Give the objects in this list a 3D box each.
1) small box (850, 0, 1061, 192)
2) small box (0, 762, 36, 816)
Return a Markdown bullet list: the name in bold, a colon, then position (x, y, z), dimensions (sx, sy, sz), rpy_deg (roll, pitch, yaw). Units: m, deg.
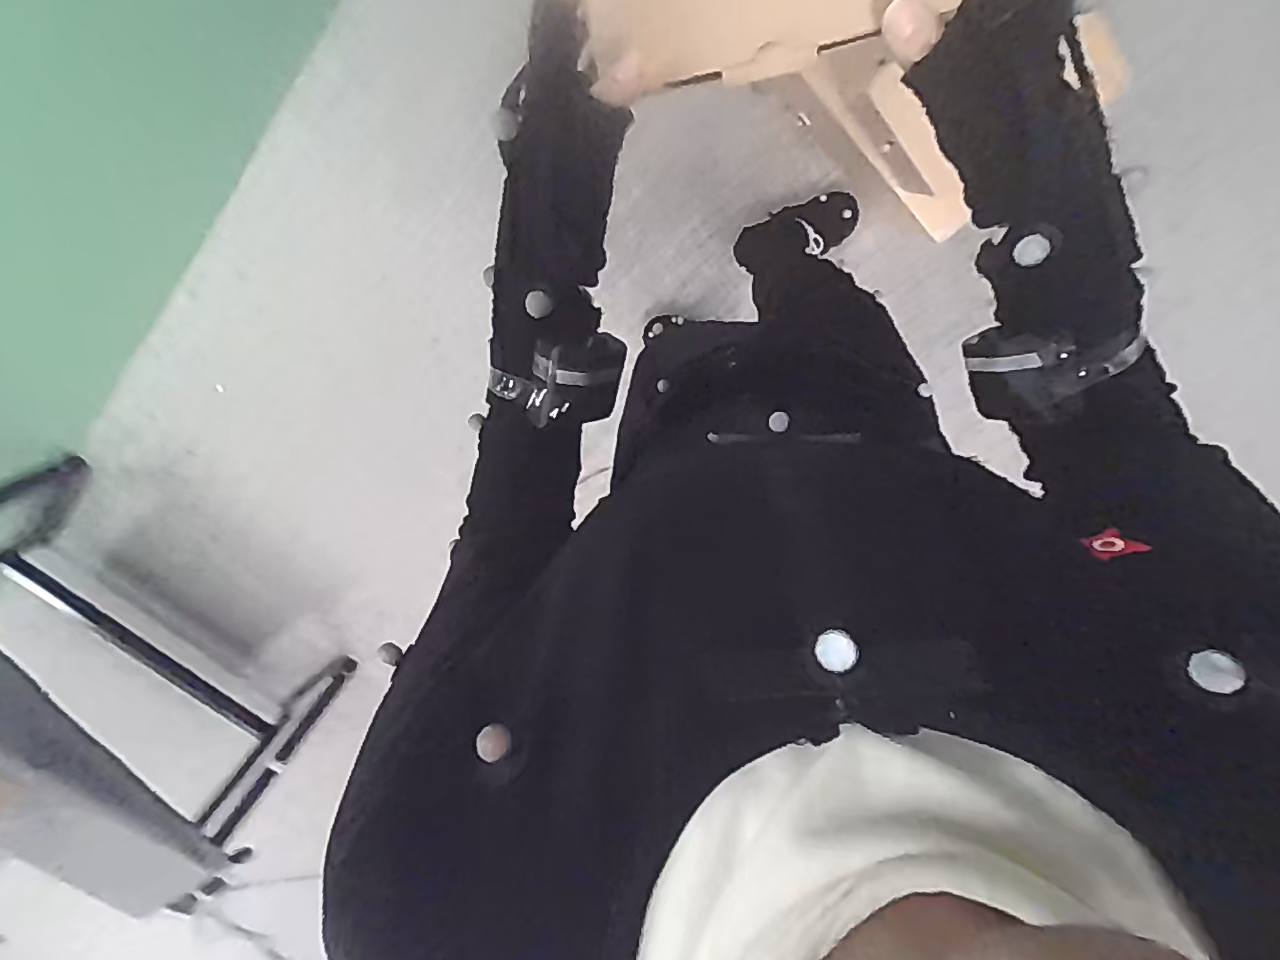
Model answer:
- **small box**: position (0.415, -0.529, 0.743), dimensions (0.168, 0.176, 0.179), rpy_deg (-37, 108, 28)
- **small box**: position (-1.695, 0.803, 1.343), dimensions (0.168, 0.176, 0.179), rpy_deg (-33, 111, 24)
